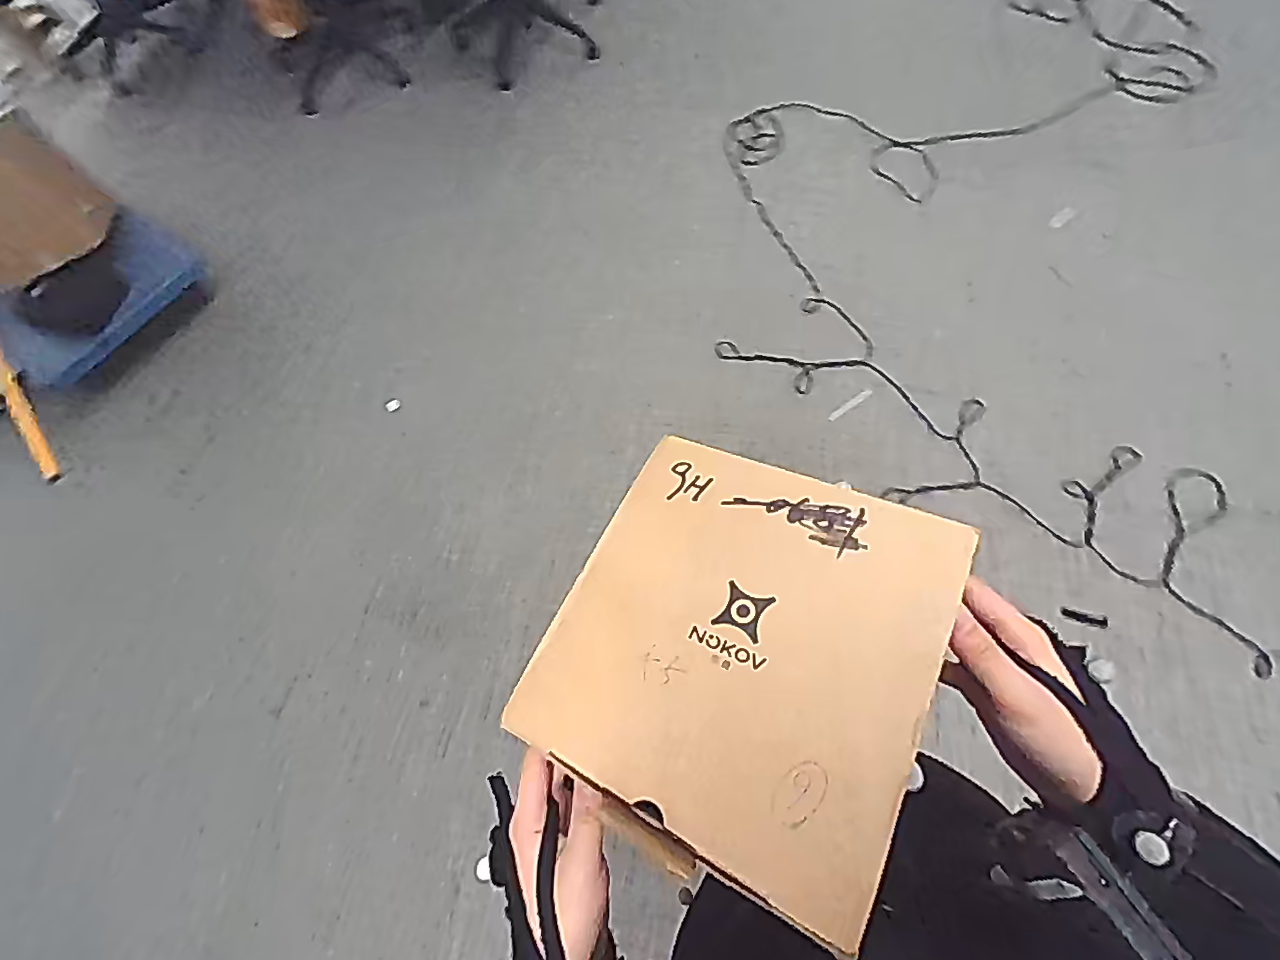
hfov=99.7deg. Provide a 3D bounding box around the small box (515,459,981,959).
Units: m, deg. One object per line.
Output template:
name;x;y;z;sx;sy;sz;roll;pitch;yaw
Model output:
small box;0.068;0.121;0.317;0.168;0.176;0.179;20;67;27
